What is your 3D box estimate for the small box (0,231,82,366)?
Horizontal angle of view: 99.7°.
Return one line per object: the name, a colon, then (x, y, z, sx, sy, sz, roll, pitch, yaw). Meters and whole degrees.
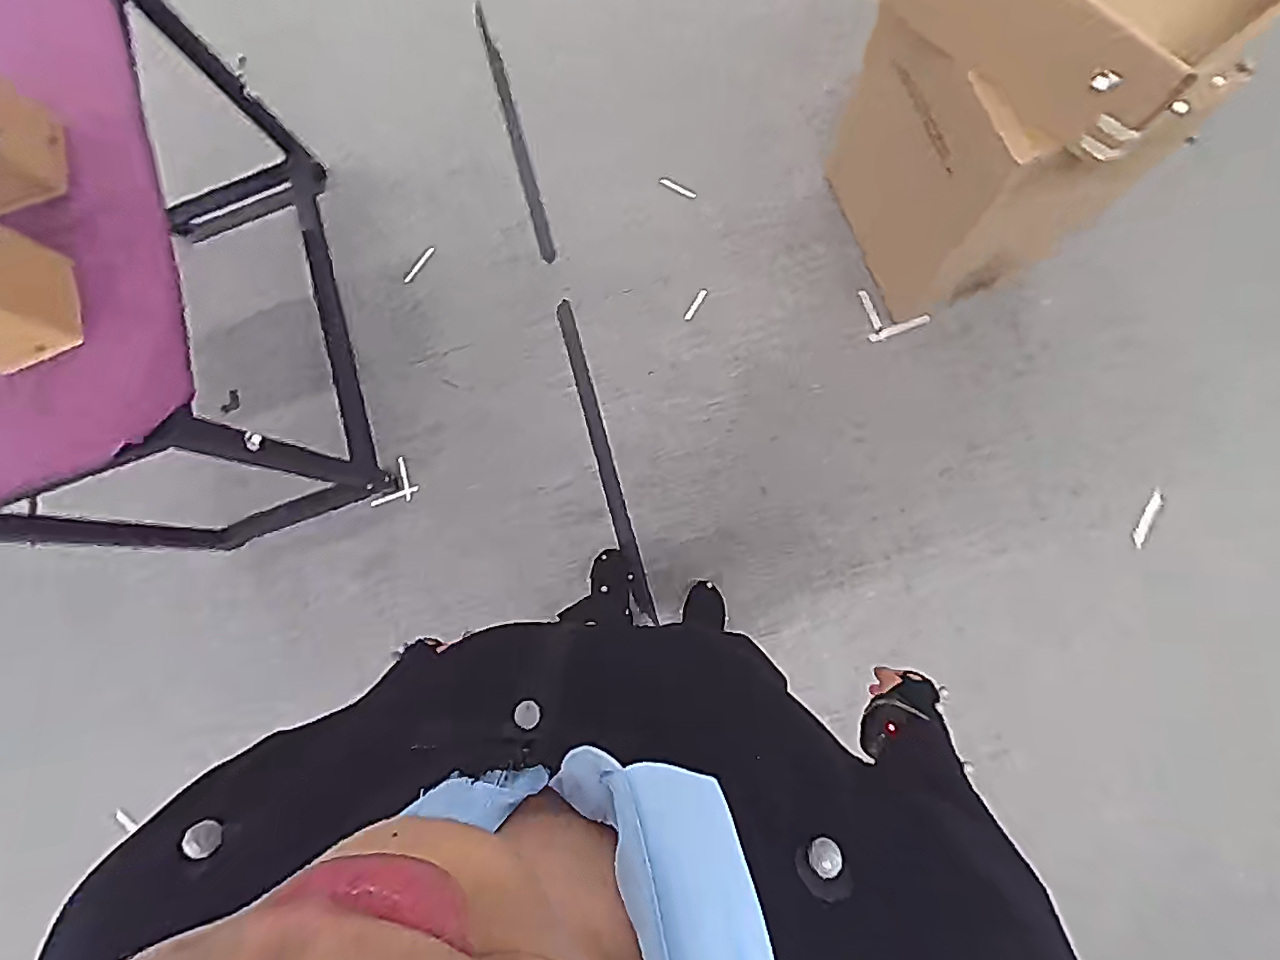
small box: (-1.094, -0.308, 0.901, 0.168, 0.176, 0.179, -21, 78, 3)
